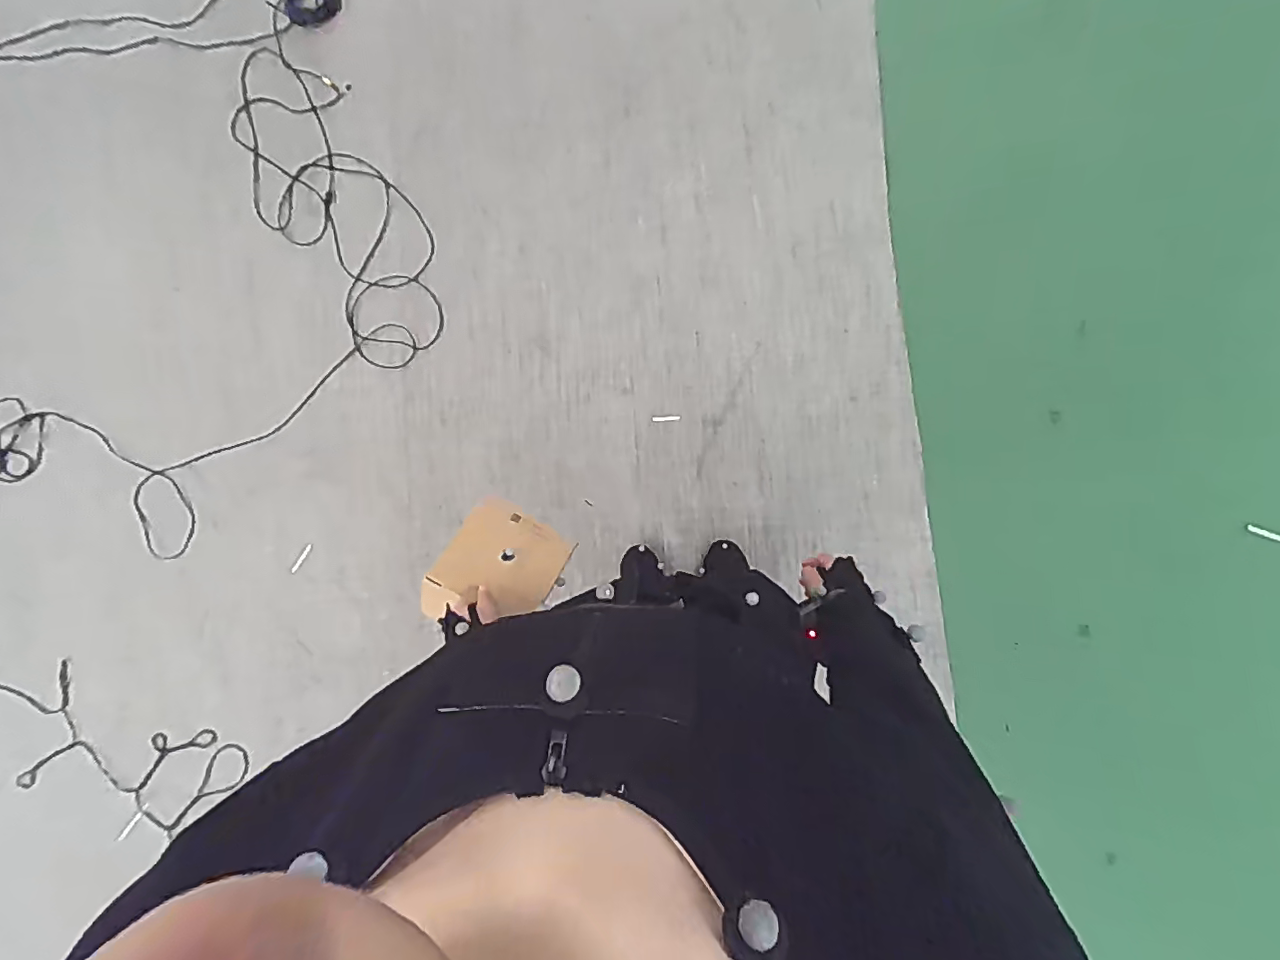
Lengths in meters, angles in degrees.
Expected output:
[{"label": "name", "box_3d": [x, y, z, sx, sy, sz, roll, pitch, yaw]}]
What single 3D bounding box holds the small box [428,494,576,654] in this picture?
[{"label": "small box", "box_3d": [-0.221, 0.152, 0.877, 0.168, 0.179, 0.176, 30, 53, -4]}]
